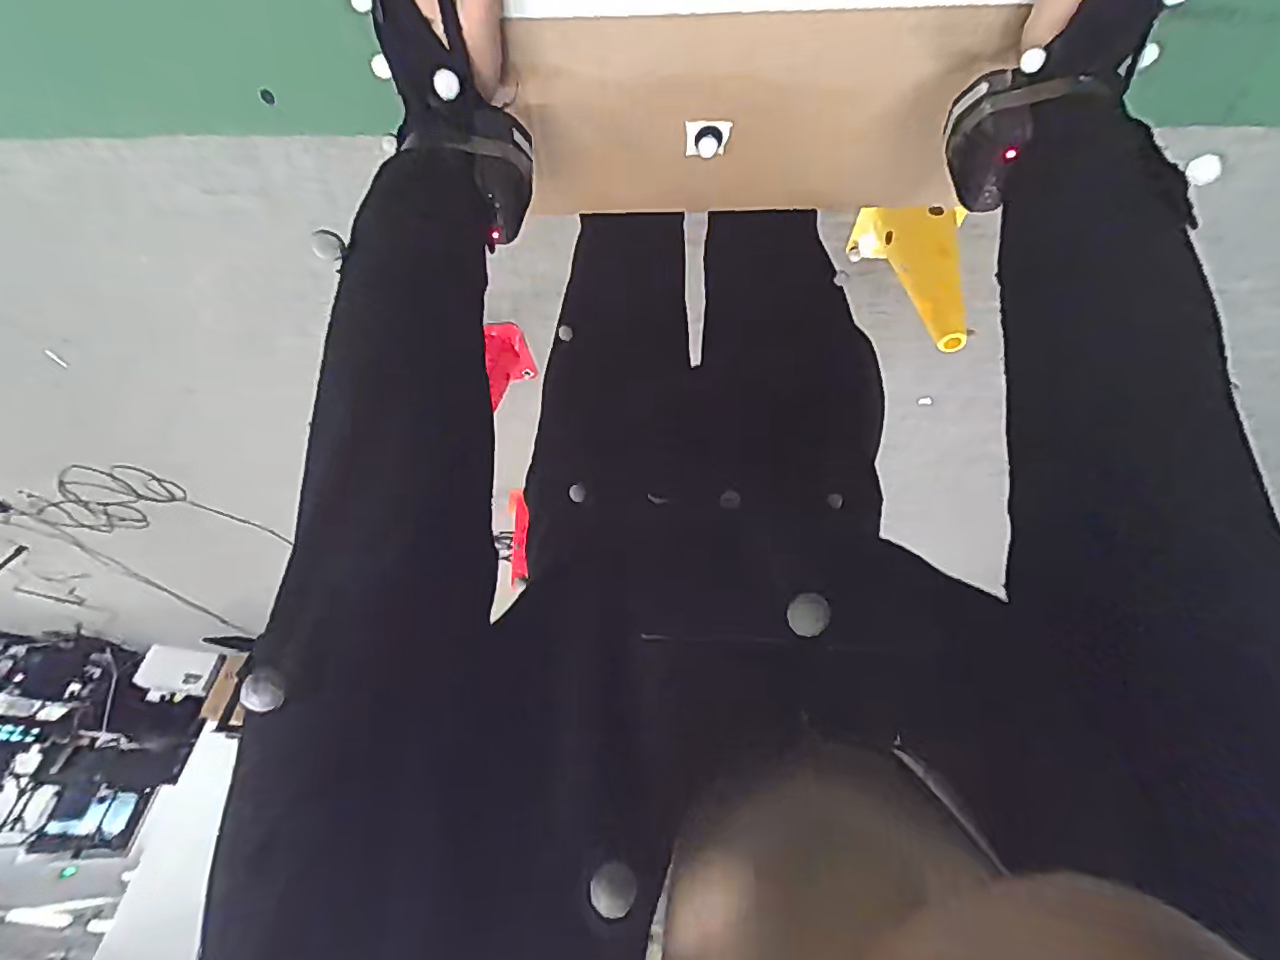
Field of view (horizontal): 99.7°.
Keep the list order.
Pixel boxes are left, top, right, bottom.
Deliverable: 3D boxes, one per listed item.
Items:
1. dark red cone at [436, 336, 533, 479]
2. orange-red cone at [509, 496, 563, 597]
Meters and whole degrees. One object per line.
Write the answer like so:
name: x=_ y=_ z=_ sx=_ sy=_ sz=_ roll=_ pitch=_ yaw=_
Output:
dark red cone: x=-0.416 y=-0.168 z=1.331 sx=0.202 sy=0.394 sz=0.201 roll=-1 pitch=143 yaw=12
orange-red cone: x=-0.433 y=0.270 z=2.043 sx=0.199 sy=0.360 sz=0.198 roll=15 pitch=145 yaw=-11
